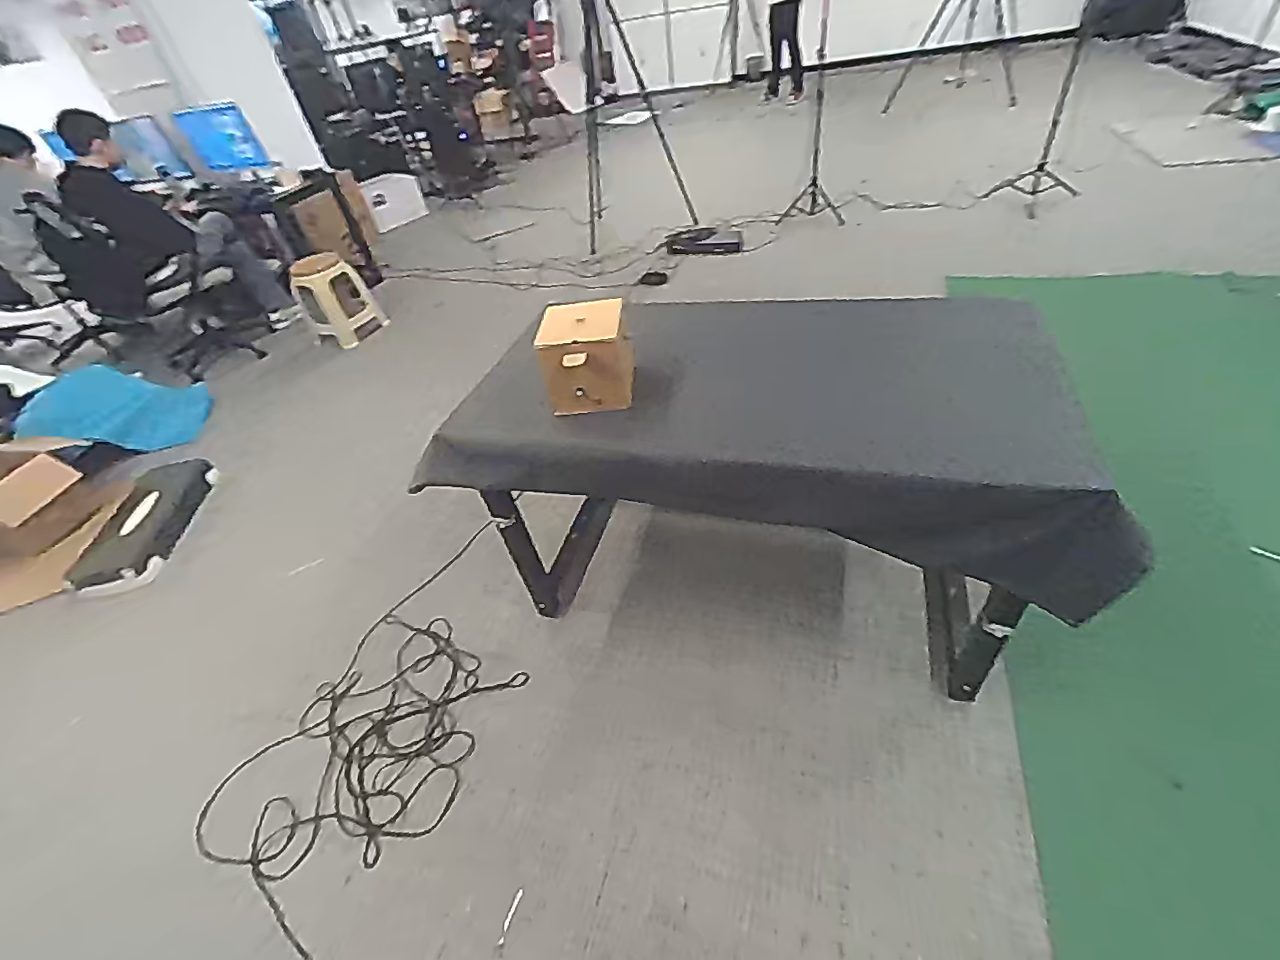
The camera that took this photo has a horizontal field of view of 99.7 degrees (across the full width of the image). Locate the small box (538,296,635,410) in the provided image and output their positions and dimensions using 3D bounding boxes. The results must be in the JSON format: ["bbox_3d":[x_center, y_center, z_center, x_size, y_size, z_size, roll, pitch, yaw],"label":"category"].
[{"bbox_3d":[-0.104,-0.269,1.146,0.168,0.176,0.179,-4,43,7],"label":"small box"}]
